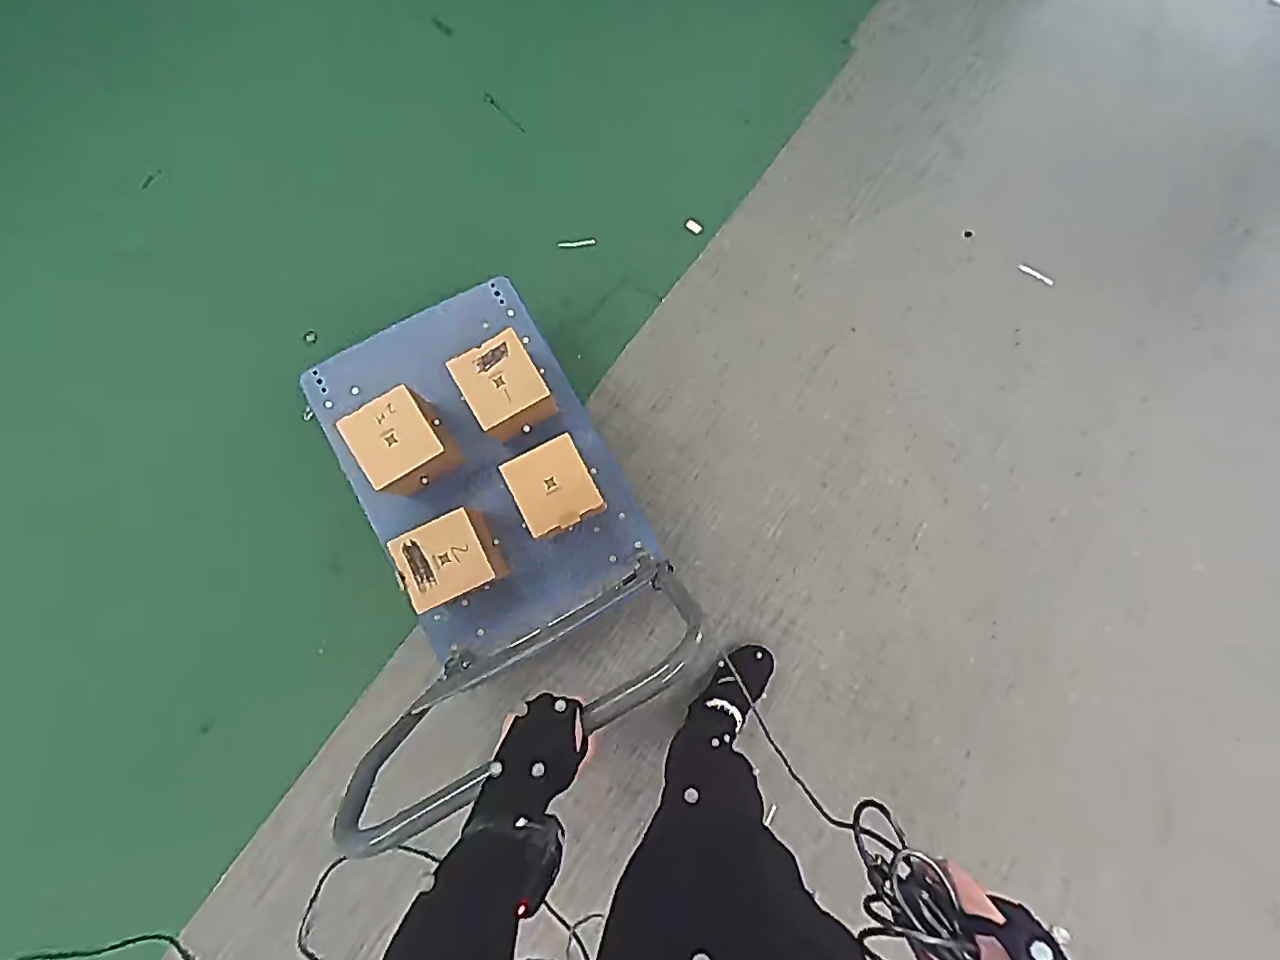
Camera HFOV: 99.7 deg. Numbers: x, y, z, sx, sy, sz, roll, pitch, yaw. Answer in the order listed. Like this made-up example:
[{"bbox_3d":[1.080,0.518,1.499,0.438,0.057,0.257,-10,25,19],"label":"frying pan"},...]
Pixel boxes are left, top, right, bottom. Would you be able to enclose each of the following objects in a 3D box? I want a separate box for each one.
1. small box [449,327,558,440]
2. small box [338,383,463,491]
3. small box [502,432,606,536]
[{"bbox_3d":[-0.303,-0.212,1.236,0.168,0.176,0.179,-30,87,-5],"label":"small box"},{"bbox_3d":[-0.525,-0.086,1.212,0.168,0.176,0.179,-32,86,-6],"label":"small box"},{"bbox_3d":[-0.188,0.017,1.217,0.168,0.176,0.179,-27,86,-5],"label":"small box"}]
